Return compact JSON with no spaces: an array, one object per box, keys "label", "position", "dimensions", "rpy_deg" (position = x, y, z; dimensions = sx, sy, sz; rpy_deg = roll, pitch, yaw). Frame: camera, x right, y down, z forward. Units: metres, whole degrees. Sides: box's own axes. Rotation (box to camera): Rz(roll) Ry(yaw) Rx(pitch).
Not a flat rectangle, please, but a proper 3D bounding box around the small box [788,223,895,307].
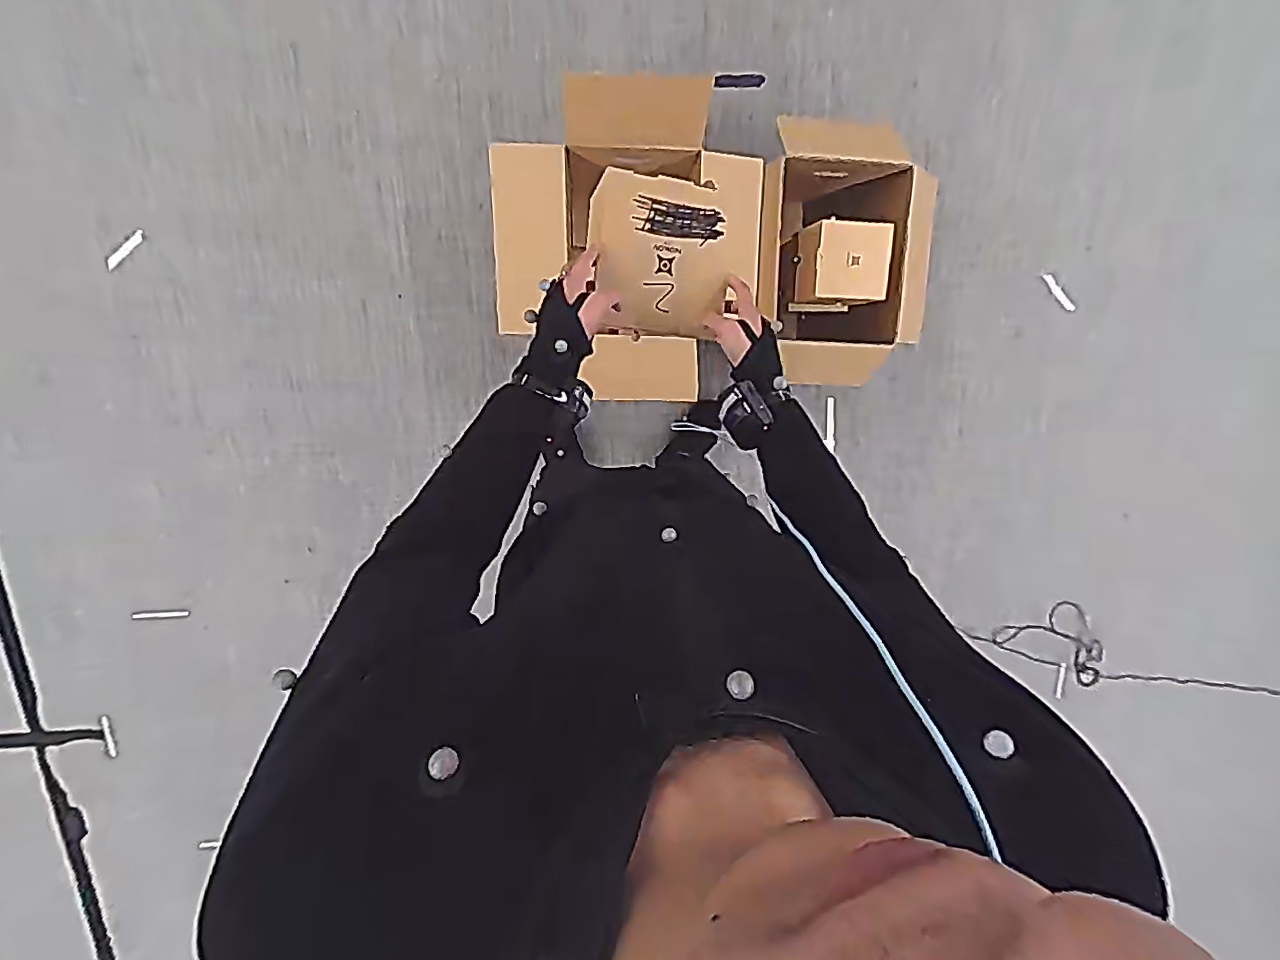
[{"label":"small box","position":[0.478,-0.512,1.303],"dimensions":[0.179,0.176,0.168],"rpy_deg":[0,104,-6]}]
